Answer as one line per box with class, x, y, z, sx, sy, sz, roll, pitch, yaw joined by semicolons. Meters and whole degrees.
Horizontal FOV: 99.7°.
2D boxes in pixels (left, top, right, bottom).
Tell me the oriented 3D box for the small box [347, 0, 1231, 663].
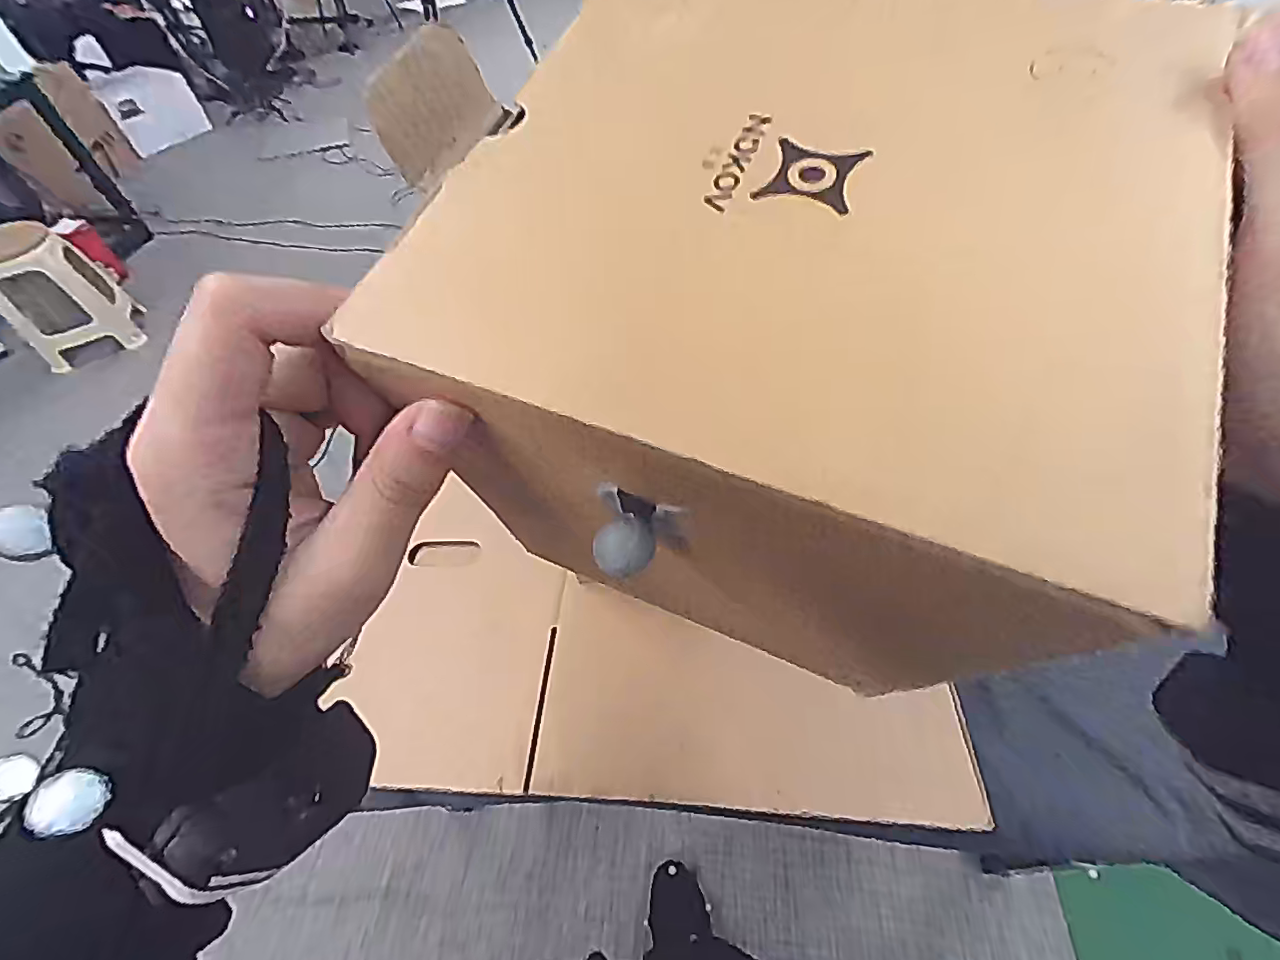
small box;0.048;-0.043;0.206;0.179;0.176;0.168;19;69;15
